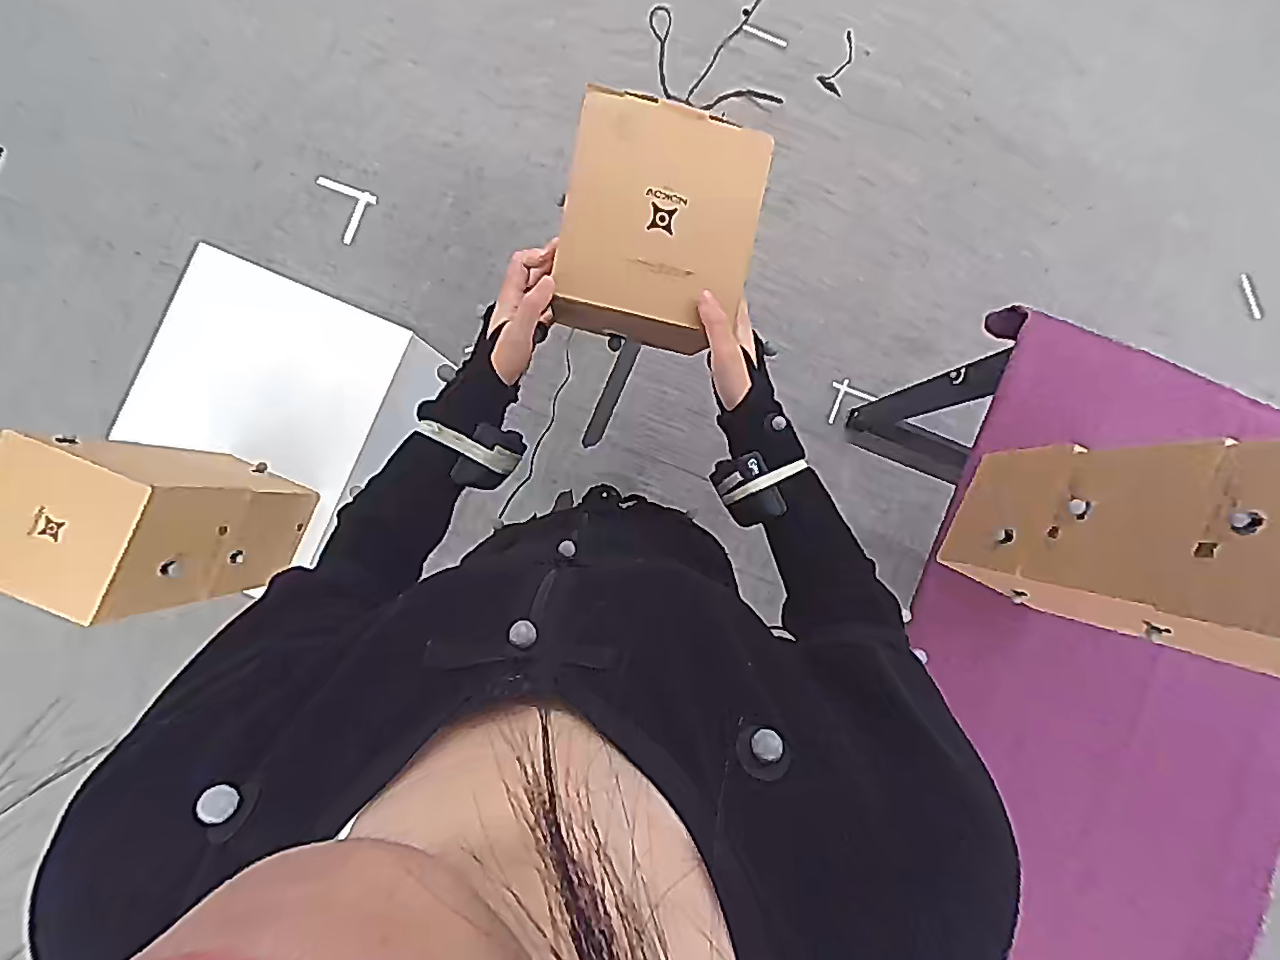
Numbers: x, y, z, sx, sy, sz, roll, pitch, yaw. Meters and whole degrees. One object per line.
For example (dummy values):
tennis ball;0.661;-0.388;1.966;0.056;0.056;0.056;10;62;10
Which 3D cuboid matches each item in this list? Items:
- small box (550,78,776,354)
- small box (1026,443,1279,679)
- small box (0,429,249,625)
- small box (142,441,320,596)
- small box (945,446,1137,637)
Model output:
small box;0.010;-0.233;0.531;0.168;0.176;0.179;11;96;-8
small box;0.555;0.076;0.549;0.179;0.176;0.168;26;88;0
small box;-0.635;0.052;0.659;0.179;0.176;0.168;22;87;0
small box;-0.641;0.058;0.823;0.179;0.176;0.168;23;87;0
small box;0.544;0.075;0.713;0.168;0.176;0.179;27;87;-1
